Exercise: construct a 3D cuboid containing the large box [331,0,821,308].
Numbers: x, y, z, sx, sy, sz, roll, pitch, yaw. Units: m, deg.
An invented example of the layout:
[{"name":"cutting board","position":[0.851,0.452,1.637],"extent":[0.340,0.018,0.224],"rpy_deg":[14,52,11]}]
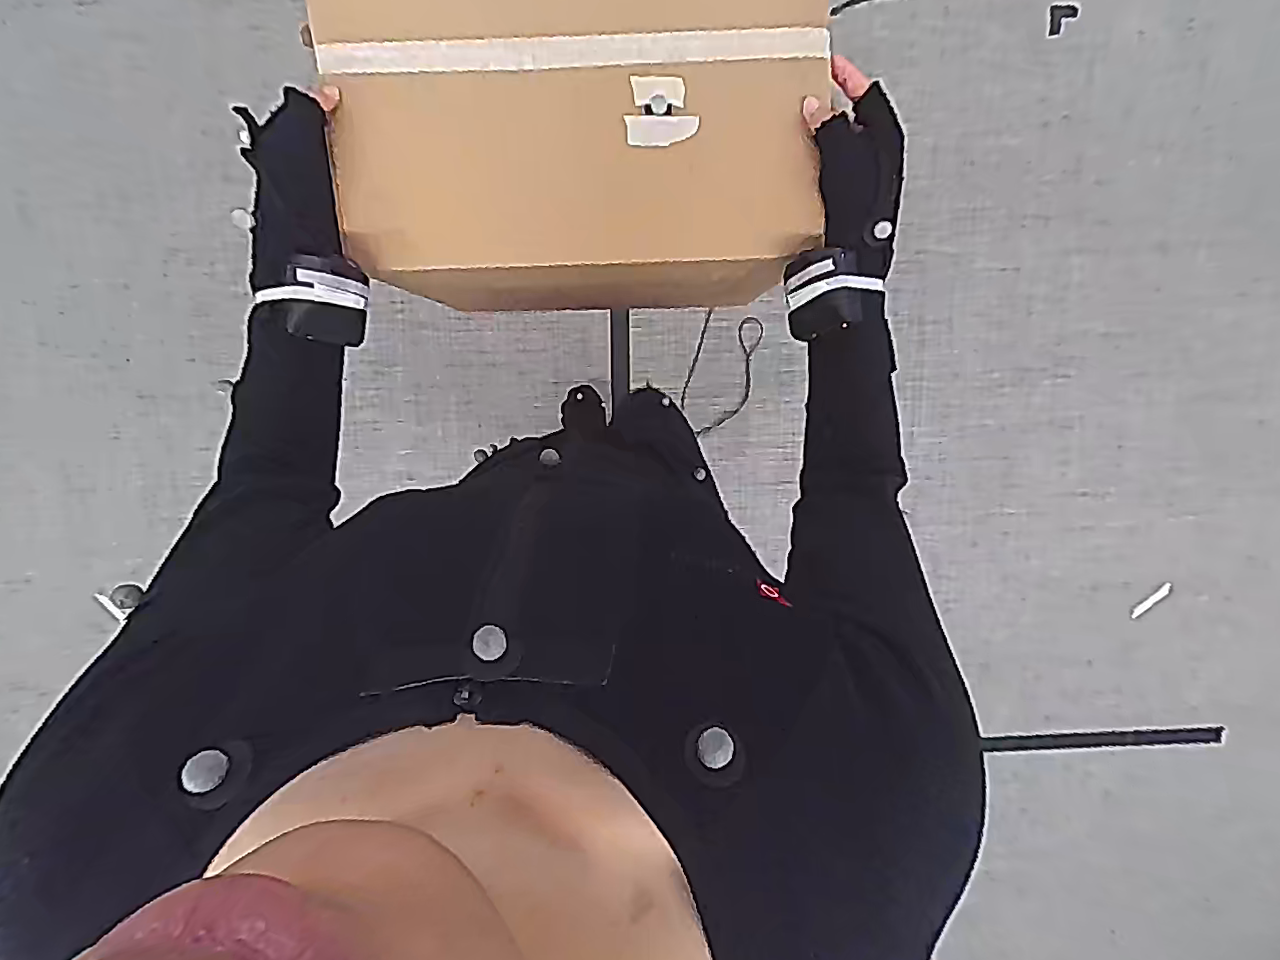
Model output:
[{"name":"large box","position":[-0.054,-0.375,0.590],"extent":[0.408,0.320,0.320],"rpy_deg":[-2,102,-1]}]
